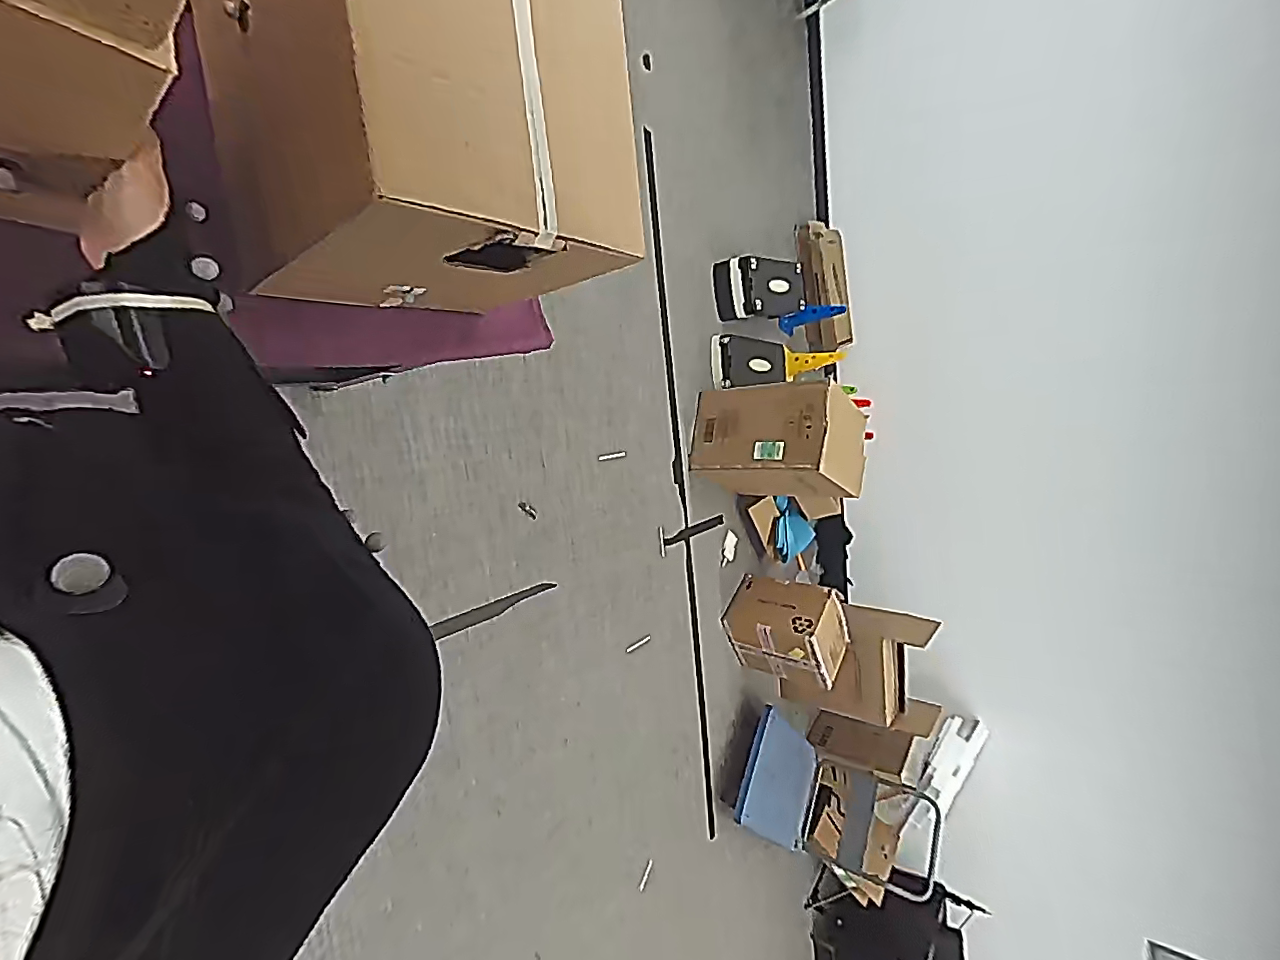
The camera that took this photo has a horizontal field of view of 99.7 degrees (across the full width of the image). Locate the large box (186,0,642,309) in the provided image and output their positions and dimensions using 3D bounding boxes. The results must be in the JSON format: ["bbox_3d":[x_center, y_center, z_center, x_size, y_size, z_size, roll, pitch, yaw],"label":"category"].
[{"bbox_3d":[-0.231,-0.418,0.568,0.320,0.320,0.408,-16,101,-51],"label":"large box"}]
